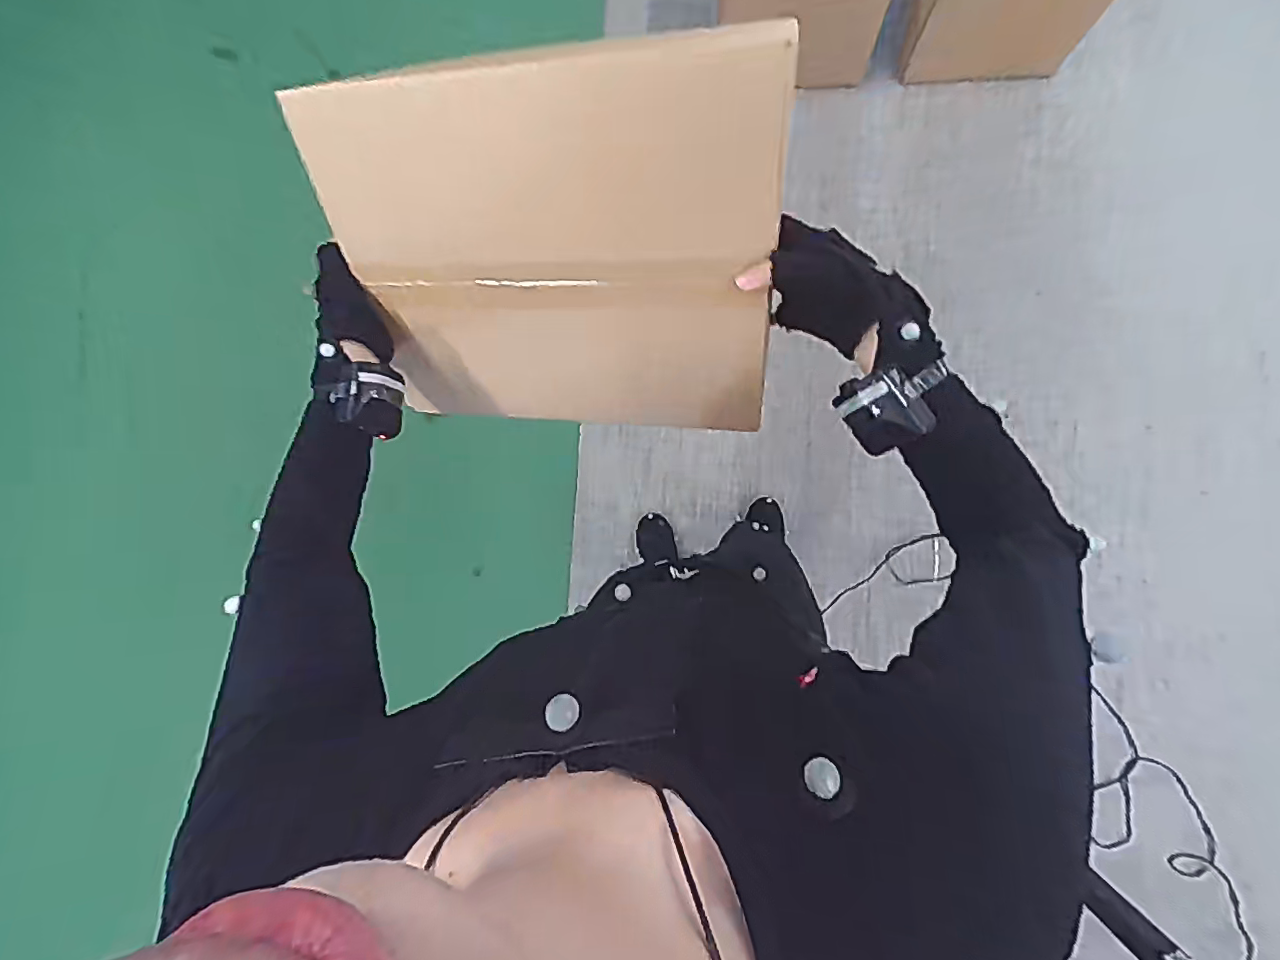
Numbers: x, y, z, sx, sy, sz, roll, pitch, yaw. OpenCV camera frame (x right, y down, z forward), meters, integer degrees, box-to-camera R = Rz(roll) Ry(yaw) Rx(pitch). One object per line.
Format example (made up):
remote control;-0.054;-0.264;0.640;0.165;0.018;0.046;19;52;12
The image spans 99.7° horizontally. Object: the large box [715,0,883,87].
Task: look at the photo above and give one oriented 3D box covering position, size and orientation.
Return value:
large box;0.409;-1.306;1.426;0.408;0.320;0.320;3;87;8
